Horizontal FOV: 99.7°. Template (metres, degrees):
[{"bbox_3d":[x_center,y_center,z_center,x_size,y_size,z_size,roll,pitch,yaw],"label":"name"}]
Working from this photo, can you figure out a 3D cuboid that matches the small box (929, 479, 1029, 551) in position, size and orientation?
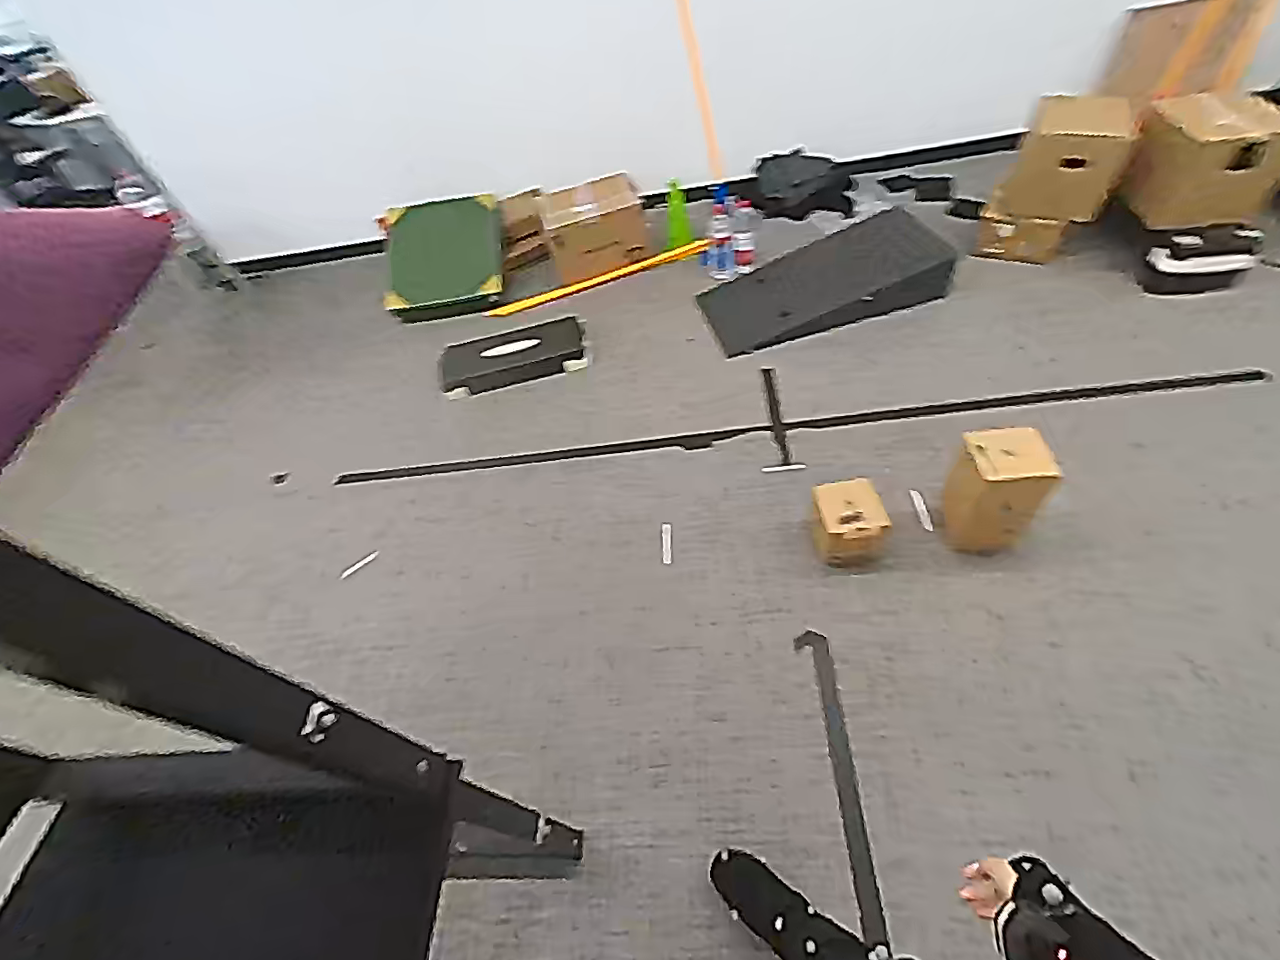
[{"bbox_3d":[0.967,0.093,1.559,0.179,0.176,0.168,-4,50,9],"label":"small box"}]

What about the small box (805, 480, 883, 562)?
[{"bbox_3d":[0.596,0.130,1.600,0.168,0.176,0.179,-10,49,3],"label":"small box"}]

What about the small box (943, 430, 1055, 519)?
[{"bbox_3d":[0.941,-0.012,1.436,0.179,0.176,0.168,-4,50,7],"label":"small box"}]
